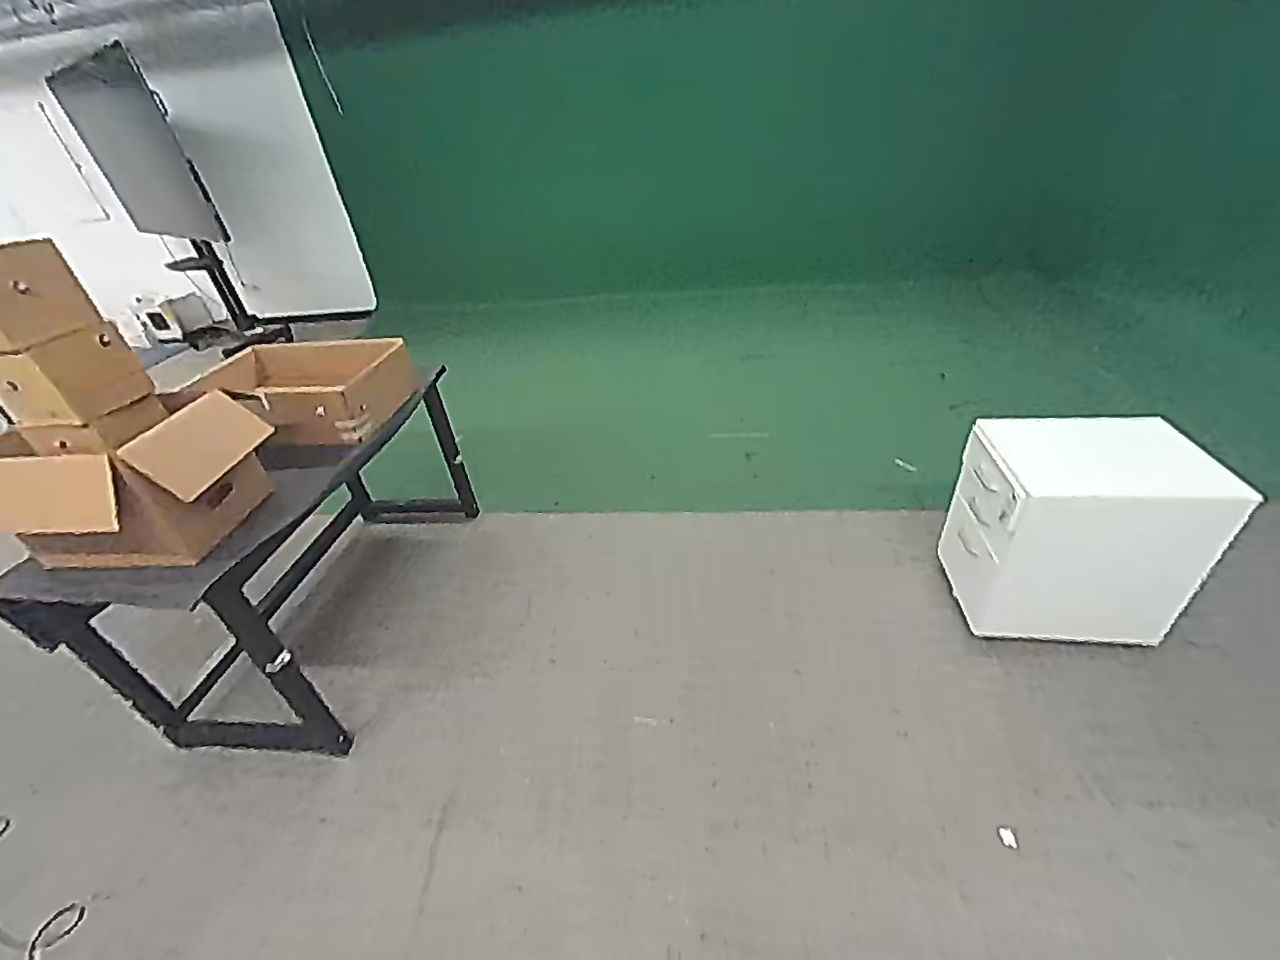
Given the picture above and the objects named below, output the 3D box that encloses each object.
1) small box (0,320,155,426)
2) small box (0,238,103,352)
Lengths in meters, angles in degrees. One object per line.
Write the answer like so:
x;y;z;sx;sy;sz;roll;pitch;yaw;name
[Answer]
-1.207;-0.226;1.145;0.168;0.176;0.179;3;35;12;small box
-1.228;-0.356;1.046;0.168;0.176;0.179;2;36;11;small box
